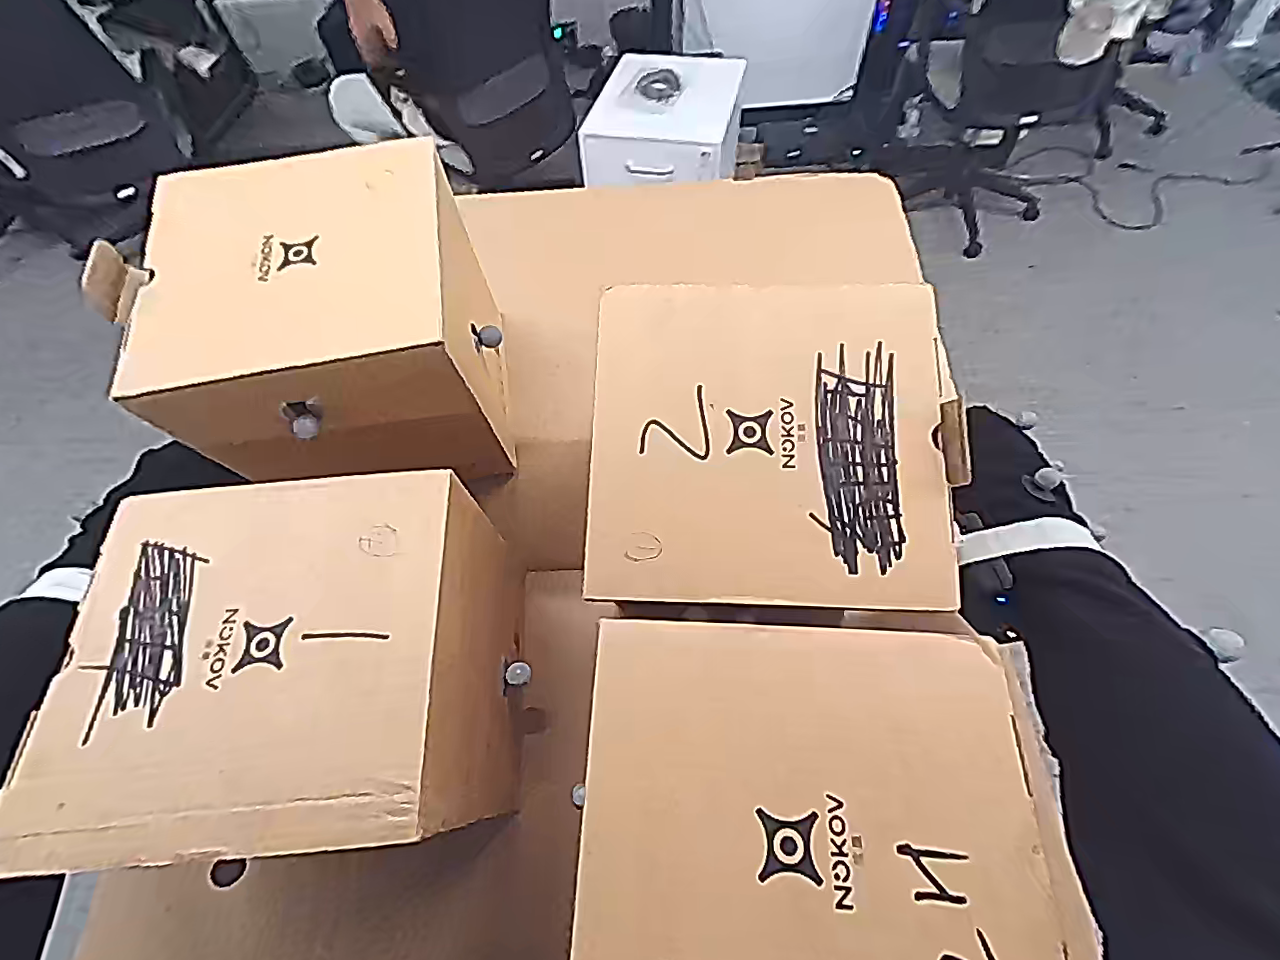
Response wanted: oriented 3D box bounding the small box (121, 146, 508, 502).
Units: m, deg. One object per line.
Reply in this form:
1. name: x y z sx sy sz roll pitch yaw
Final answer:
1. small box: -0.202 -0.098 0.394 0.179 0.176 0.168 -11 67 -1
